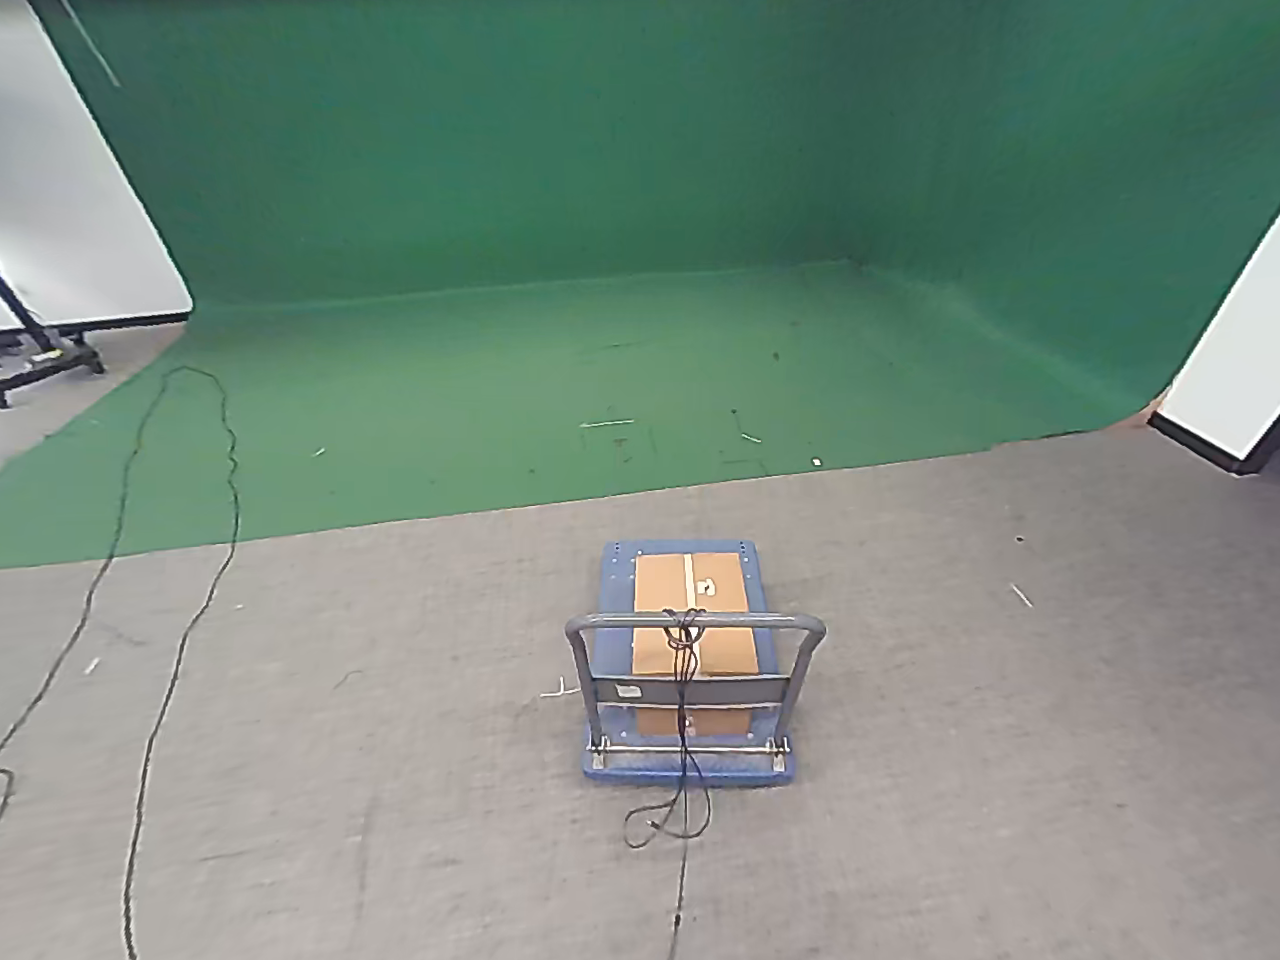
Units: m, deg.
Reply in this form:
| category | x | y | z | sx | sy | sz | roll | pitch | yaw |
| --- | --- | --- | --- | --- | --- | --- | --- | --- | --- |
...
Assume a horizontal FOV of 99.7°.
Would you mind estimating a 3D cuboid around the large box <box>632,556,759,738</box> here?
| category | x | y | z | sx | sy | sz | roll | pitch | yaw |
| --- | --- | --- | --- | --- | --- | --- | --- | --- | --- |
| large box | 0.146 | 0.474 | 1.556 | 0.320 | 0.320 | 0.408 | -1 | 38 | 2 |
